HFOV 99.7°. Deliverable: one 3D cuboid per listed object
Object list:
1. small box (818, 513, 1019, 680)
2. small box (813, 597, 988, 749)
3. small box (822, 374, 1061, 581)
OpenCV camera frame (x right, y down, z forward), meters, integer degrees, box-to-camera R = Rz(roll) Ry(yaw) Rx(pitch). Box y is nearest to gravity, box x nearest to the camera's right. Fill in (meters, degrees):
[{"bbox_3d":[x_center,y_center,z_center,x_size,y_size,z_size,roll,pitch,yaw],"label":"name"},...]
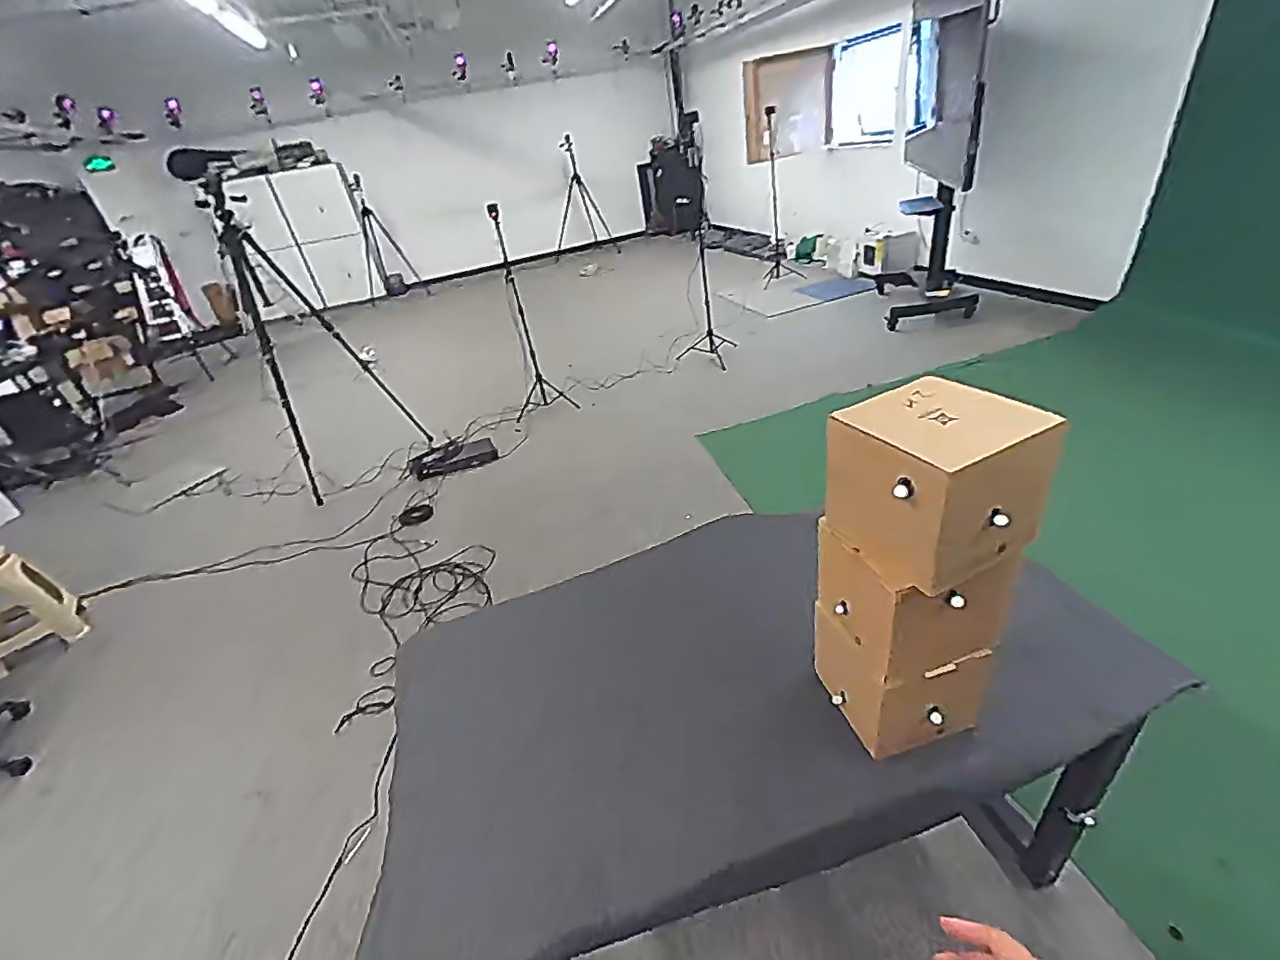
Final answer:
[{"bbox_3d":[0.360,0.134,0.733,0.179,0.176,0.168,-18,31,-8],"label":"small box"},{"bbox_3d":[0.379,0.273,0.816,0.168,0.176,0.179,-16,32,-6],"label":"small box"},{"bbox_3d":[0.340,-0.003,0.642,0.168,0.176,0.179,-21,32,-15],"label":"small box"}]
